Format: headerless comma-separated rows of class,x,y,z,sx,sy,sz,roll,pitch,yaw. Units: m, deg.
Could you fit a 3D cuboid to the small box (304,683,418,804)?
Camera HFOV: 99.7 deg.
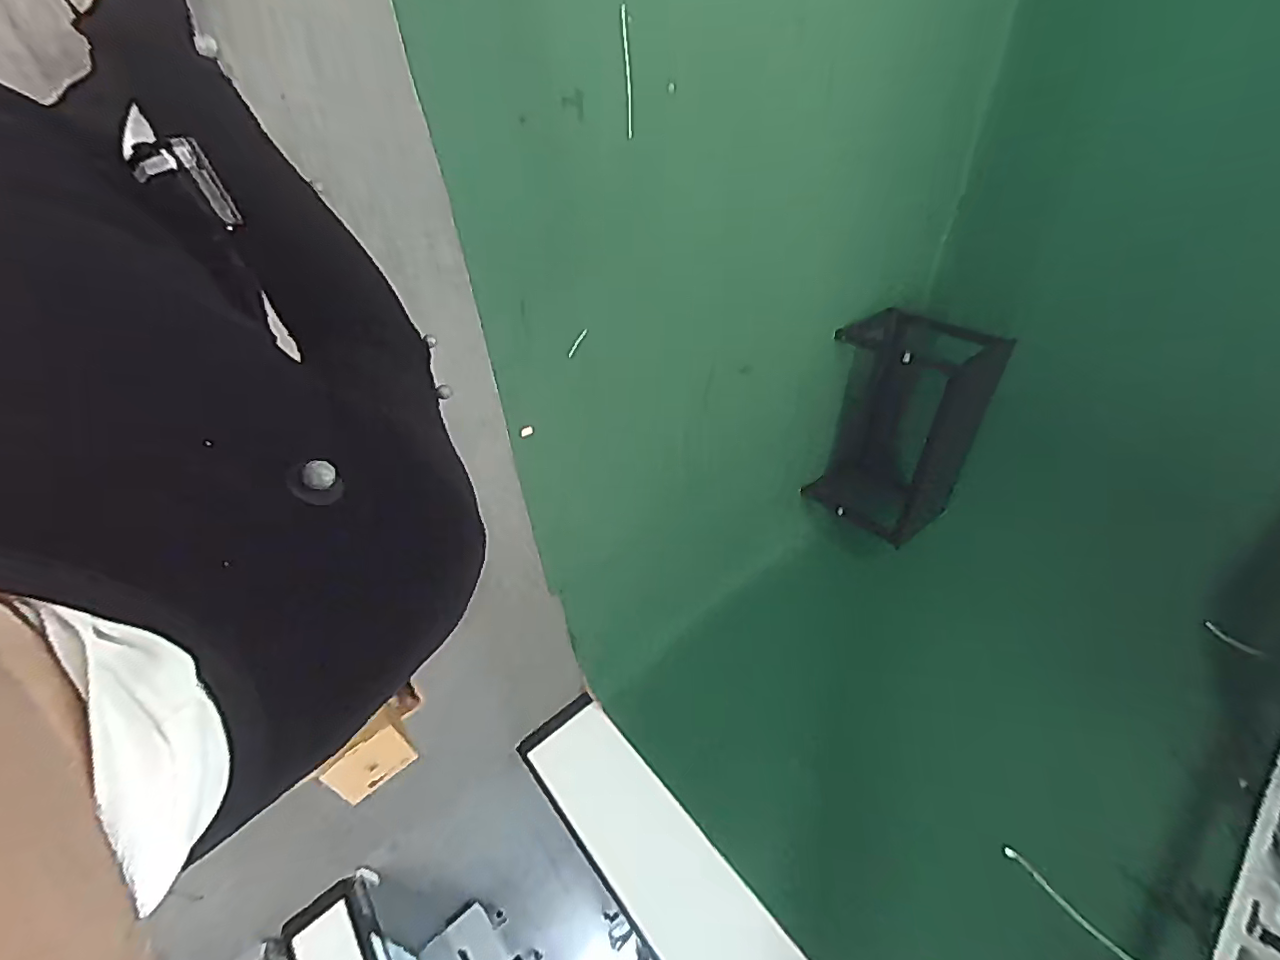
small box,-0.667,0.617,1.290,0.168,0.176,0.179,-31,135,-25
